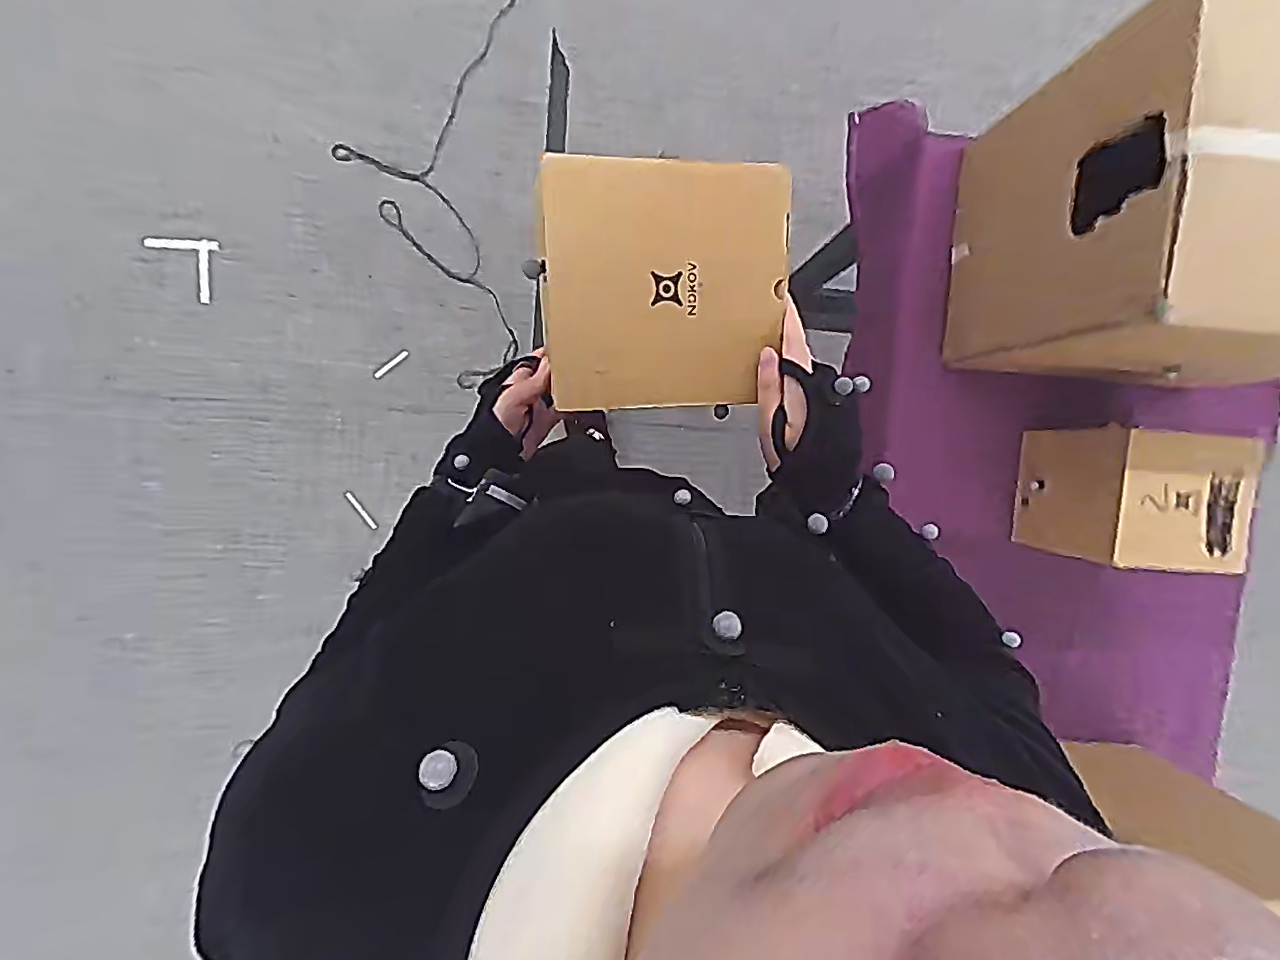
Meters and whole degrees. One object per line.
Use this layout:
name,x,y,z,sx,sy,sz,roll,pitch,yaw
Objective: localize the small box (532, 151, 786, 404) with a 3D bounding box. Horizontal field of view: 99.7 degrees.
small box,0.002,-0.154,0.454,0.179,0.176,0.168,-4,104,-12
